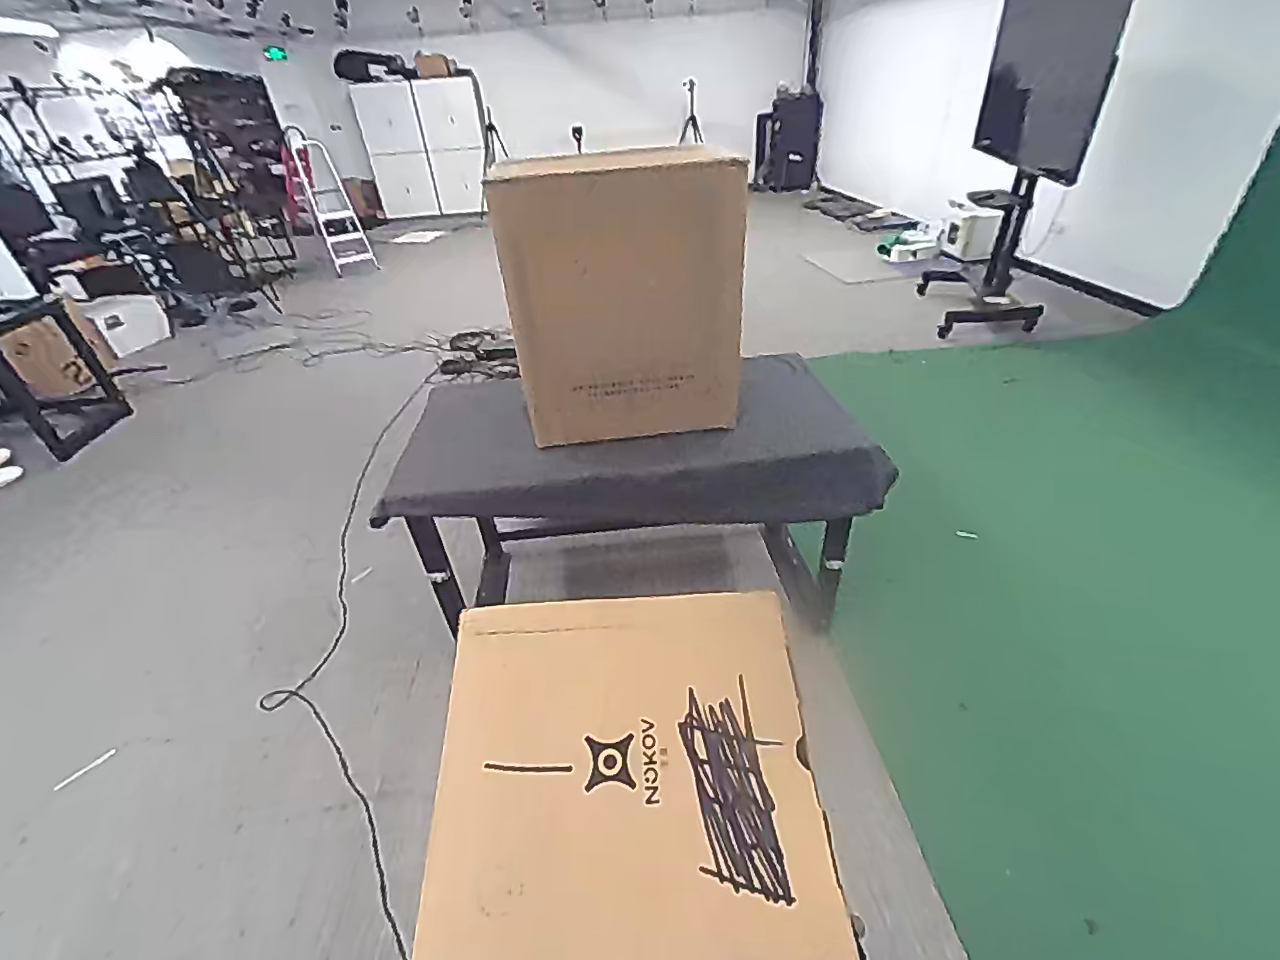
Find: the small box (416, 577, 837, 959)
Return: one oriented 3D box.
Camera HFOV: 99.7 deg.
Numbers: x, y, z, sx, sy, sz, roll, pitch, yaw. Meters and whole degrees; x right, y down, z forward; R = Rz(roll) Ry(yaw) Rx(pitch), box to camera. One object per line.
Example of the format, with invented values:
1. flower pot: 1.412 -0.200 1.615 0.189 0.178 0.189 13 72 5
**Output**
1. small box: -0.008 0.173 0.330 0.179 0.176 0.168 -3 53 -1
